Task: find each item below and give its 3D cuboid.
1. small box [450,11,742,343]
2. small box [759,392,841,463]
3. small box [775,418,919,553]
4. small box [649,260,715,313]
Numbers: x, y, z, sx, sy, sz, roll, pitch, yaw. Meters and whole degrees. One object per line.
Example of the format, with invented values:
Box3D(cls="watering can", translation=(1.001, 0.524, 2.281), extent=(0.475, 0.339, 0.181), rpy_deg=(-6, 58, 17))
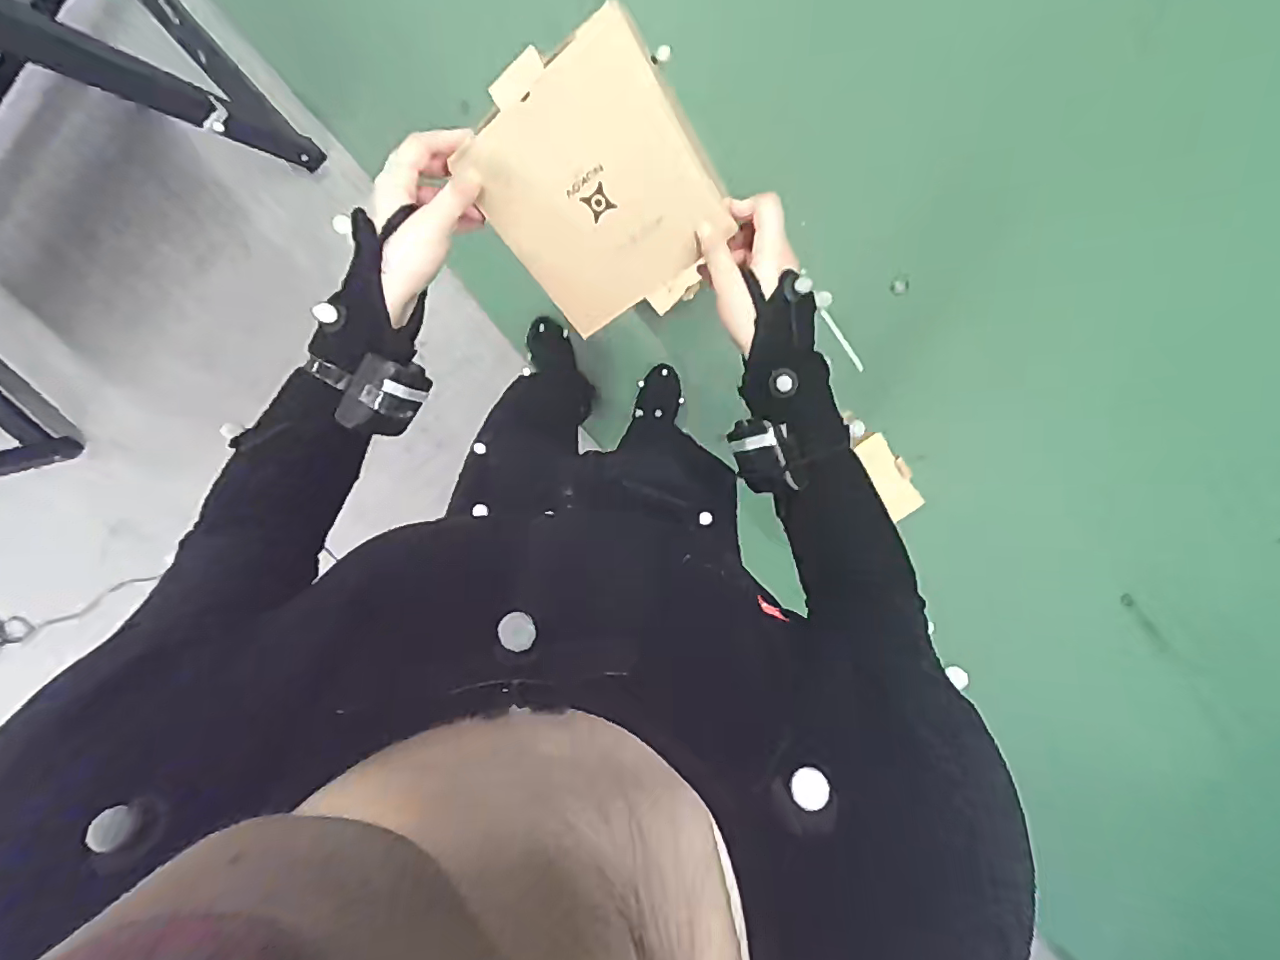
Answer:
Box3D(cls="small box", translation=(-0.029, -0.263, 0.486), extent=(0.168, 0.176, 0.179), rpy_deg=(-28, 122, 24))
Box3D(cls="small box", translation=(0.413, -0.099, 1.350), extent=(0.179, 0.176, 0.168), rpy_deg=(-30, 104, 11))
Box3D(cls="small box", translation=(0.385, 0.001, 1.038), extent=(0.179, 0.176, 0.168), rpy_deg=(-35, 104, 12))
Box3D(cls="small box", translation=(0.050, -0.503, 1.238), extent=(0.168, 0.176, 0.179), rpy_deg=(-38, 102, 15))
